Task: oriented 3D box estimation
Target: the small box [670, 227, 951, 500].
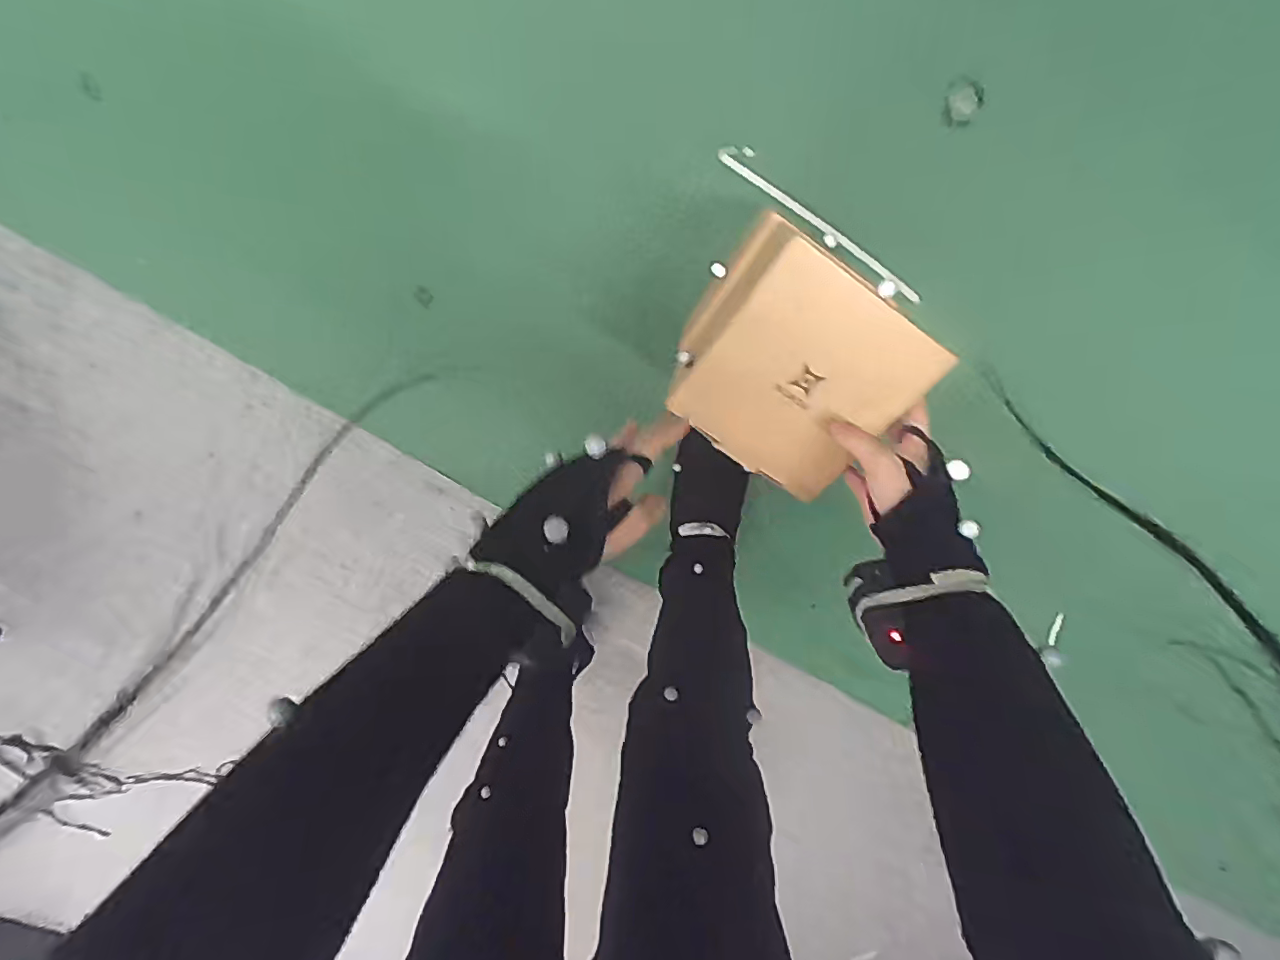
[{"bbox_3d":[0.148,-0.121,0.525,0.168,0.176,0.179,33,119,-8],"label":"small box"}]
